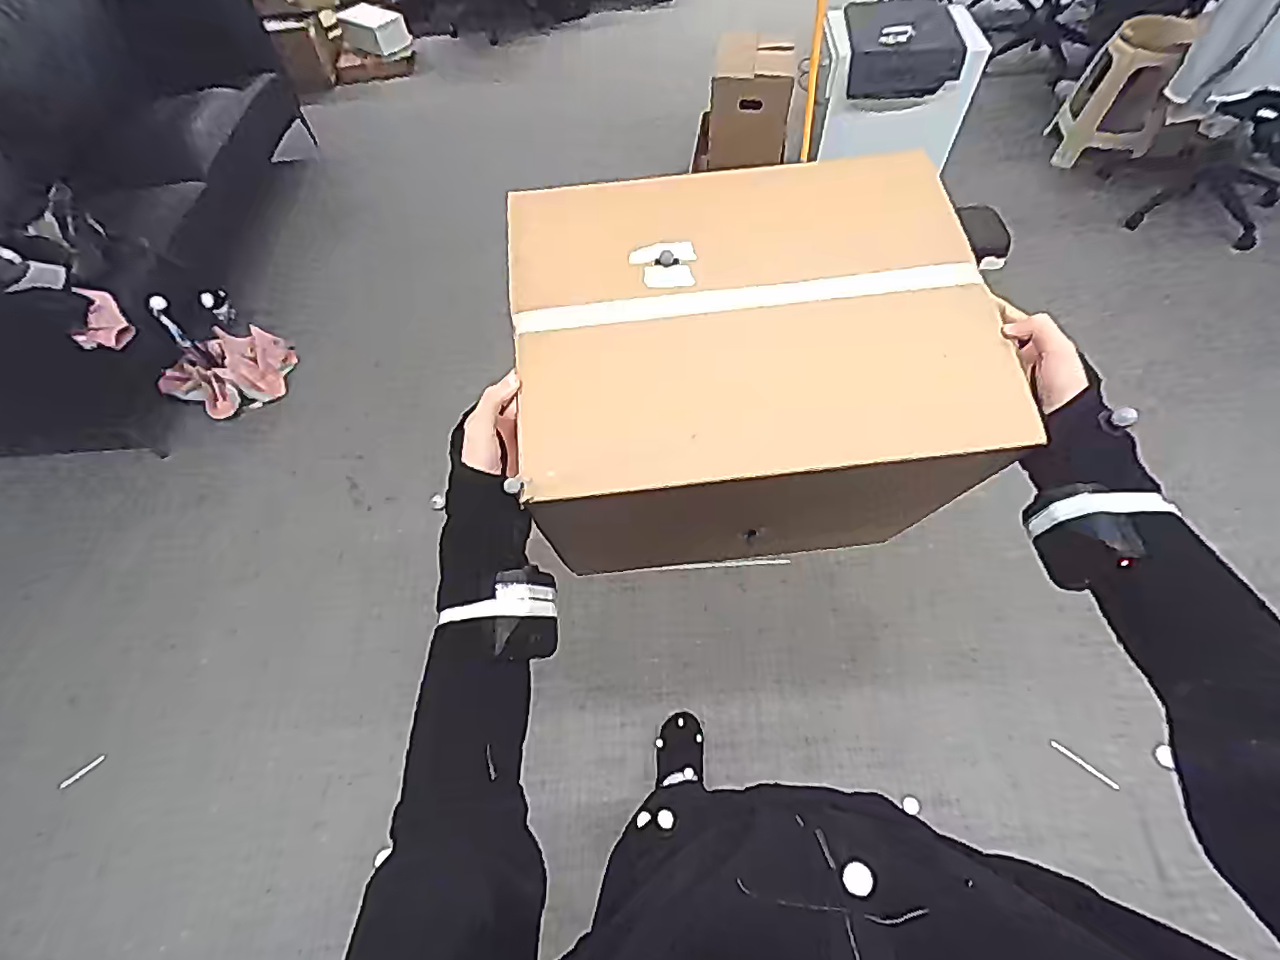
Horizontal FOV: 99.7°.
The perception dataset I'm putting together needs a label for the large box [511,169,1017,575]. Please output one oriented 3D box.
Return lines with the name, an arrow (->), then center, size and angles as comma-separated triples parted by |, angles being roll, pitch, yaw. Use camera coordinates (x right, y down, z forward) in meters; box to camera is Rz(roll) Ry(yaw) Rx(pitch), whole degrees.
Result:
large box -> 0.096, -0.088, 0.618 | 0.408, 0.320, 0.320 | -7, 69, 0
